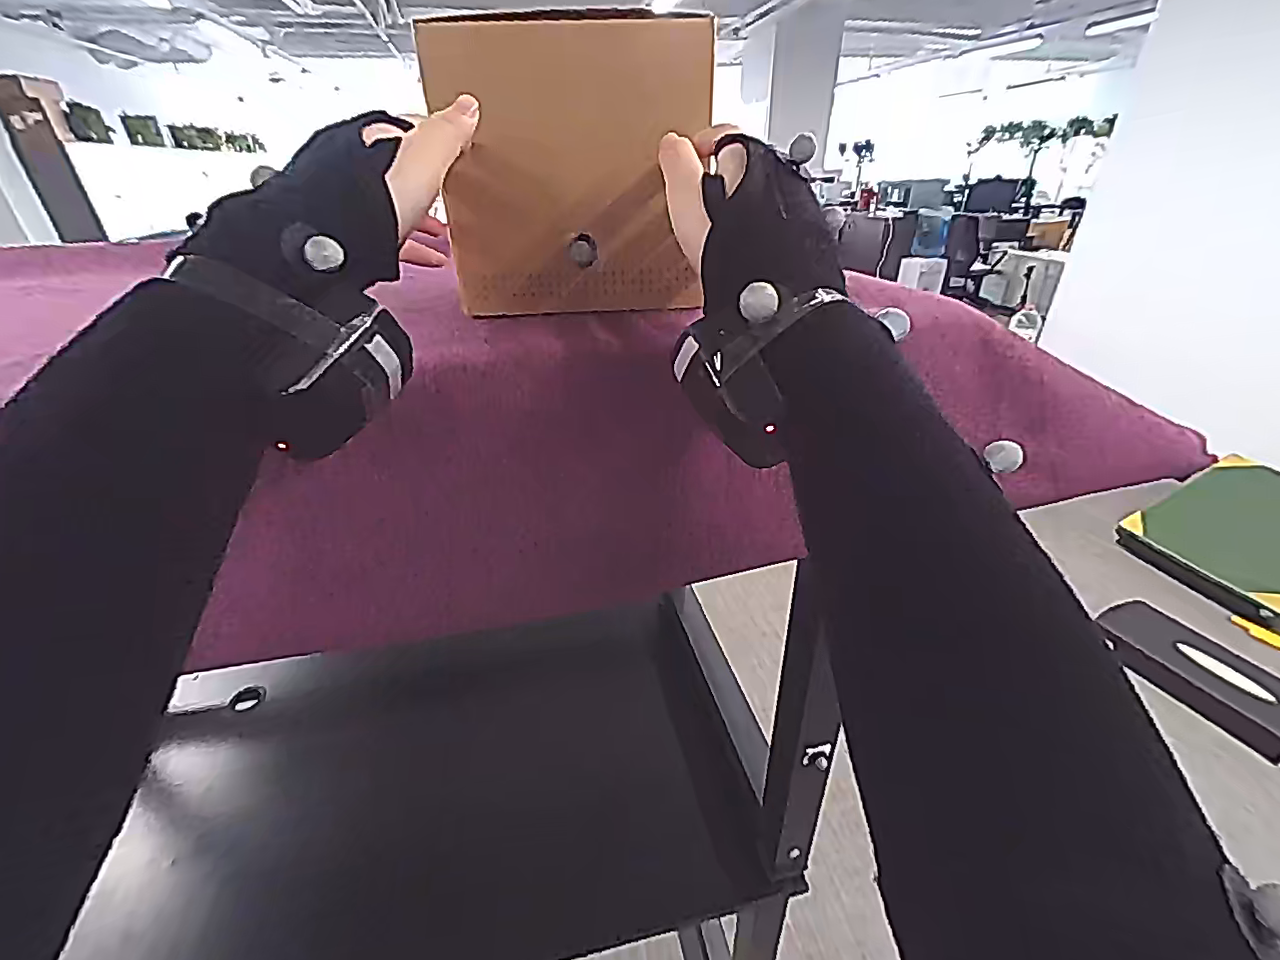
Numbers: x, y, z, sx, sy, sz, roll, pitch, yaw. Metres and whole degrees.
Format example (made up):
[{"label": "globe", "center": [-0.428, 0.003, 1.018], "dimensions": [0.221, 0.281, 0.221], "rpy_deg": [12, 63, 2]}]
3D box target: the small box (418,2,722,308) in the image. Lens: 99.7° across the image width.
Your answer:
[{"label": "small box", "center": [-0.043, -0.234, 0.415], "dimensions": [0.179, 0.176, 0.168], "rpy_deg": [-2, 28, -3]}]
